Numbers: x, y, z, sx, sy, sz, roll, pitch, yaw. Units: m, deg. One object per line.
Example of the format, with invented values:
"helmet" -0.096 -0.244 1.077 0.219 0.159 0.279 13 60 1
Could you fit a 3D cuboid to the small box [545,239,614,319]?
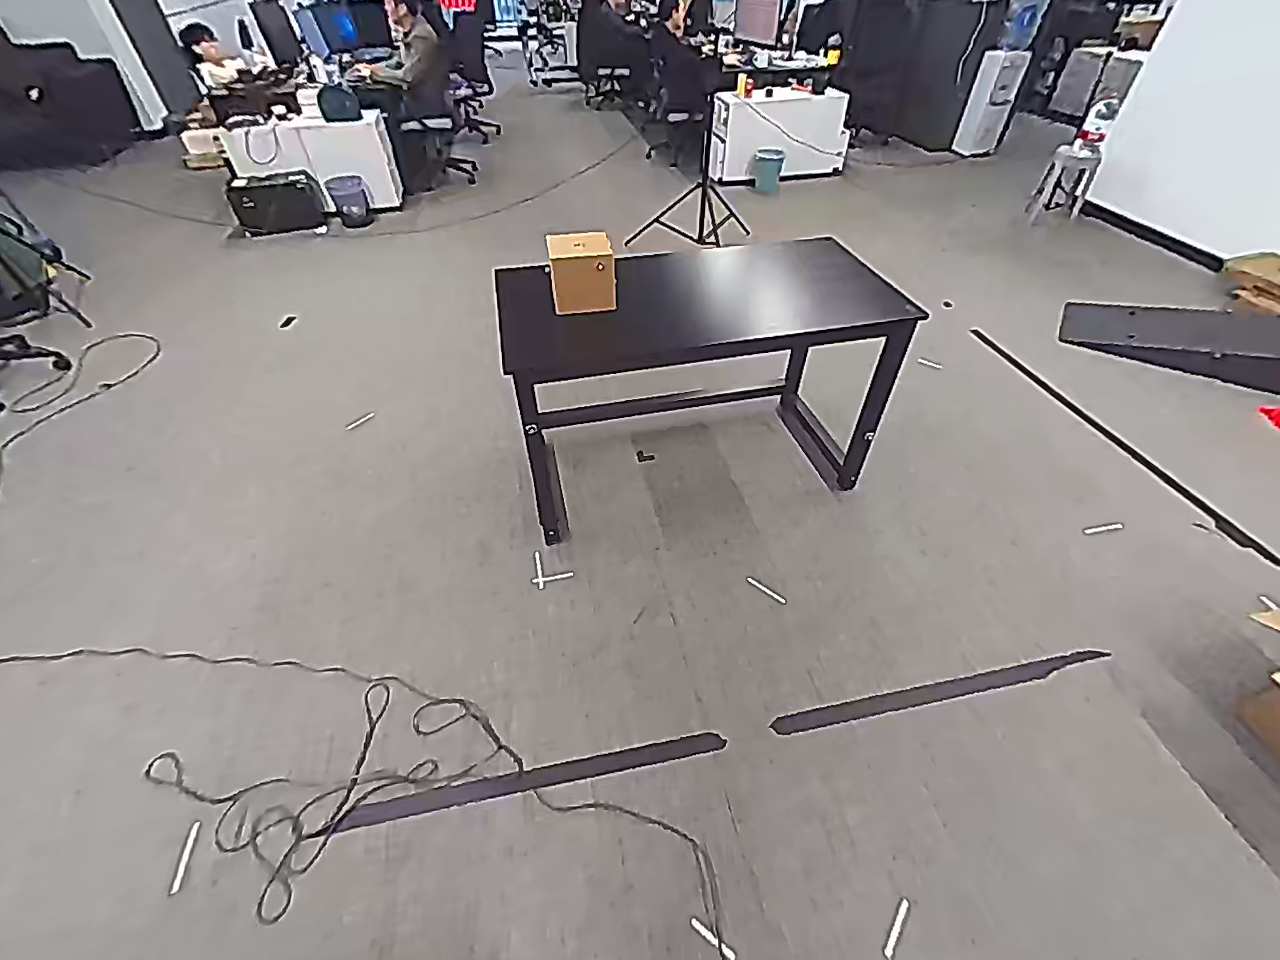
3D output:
"small box" -0.176 -0.588 1.586 0.179 0.176 0.168 -8 45 -8
